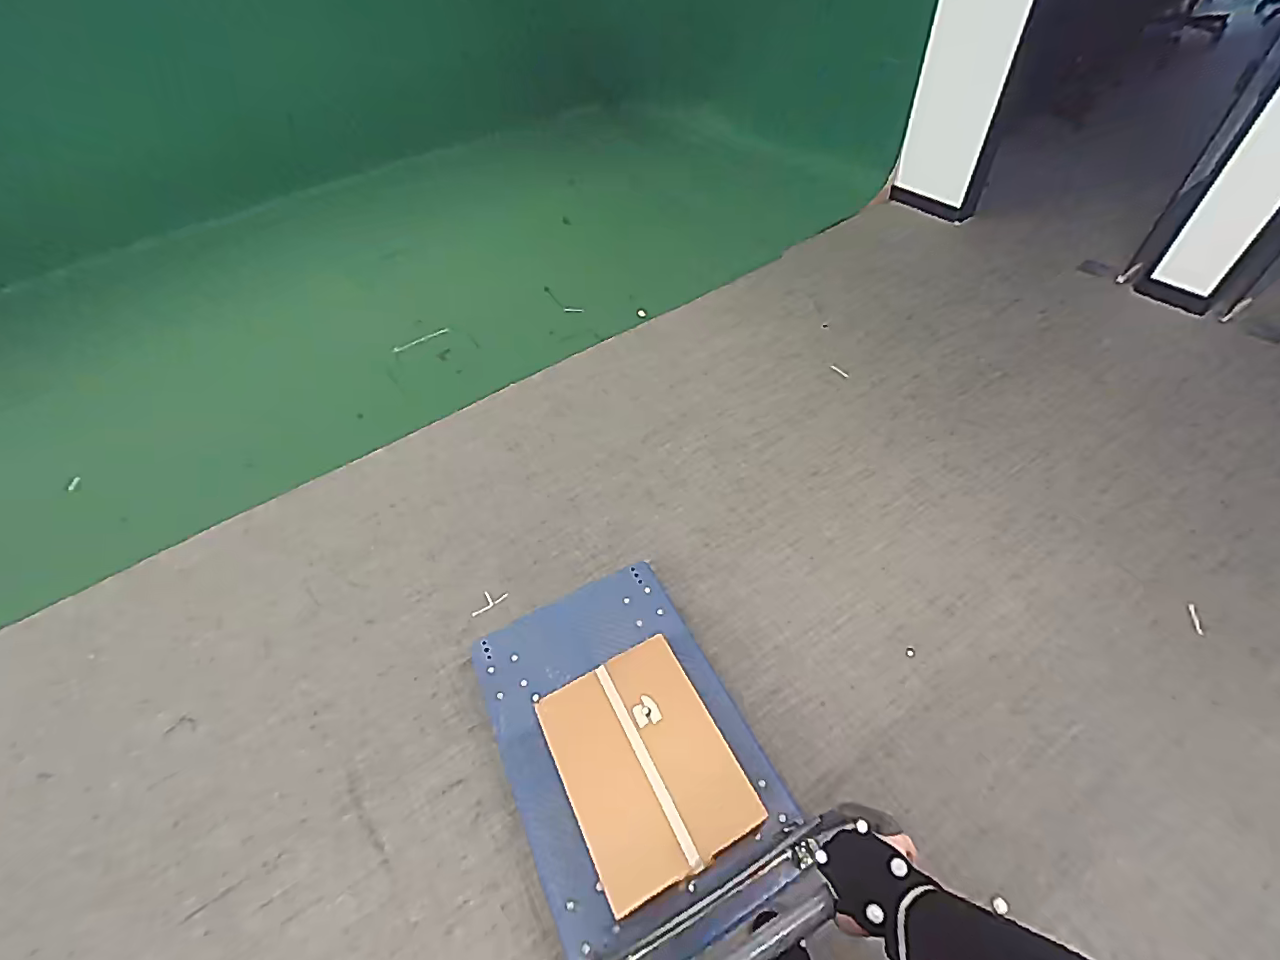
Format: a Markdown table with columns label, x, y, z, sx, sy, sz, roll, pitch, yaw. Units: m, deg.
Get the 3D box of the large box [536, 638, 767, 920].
| label | x | y | z | sx | sy | sz | roll | pitch | yaw |
| --- | --- | --- | --- | --- | --- | --- | --- | --- | --- |
| large box | 0.022 | 0.636 | 1.168 | 0.320 | 0.320 | 0.408 | -25 | 51 | -14 |
